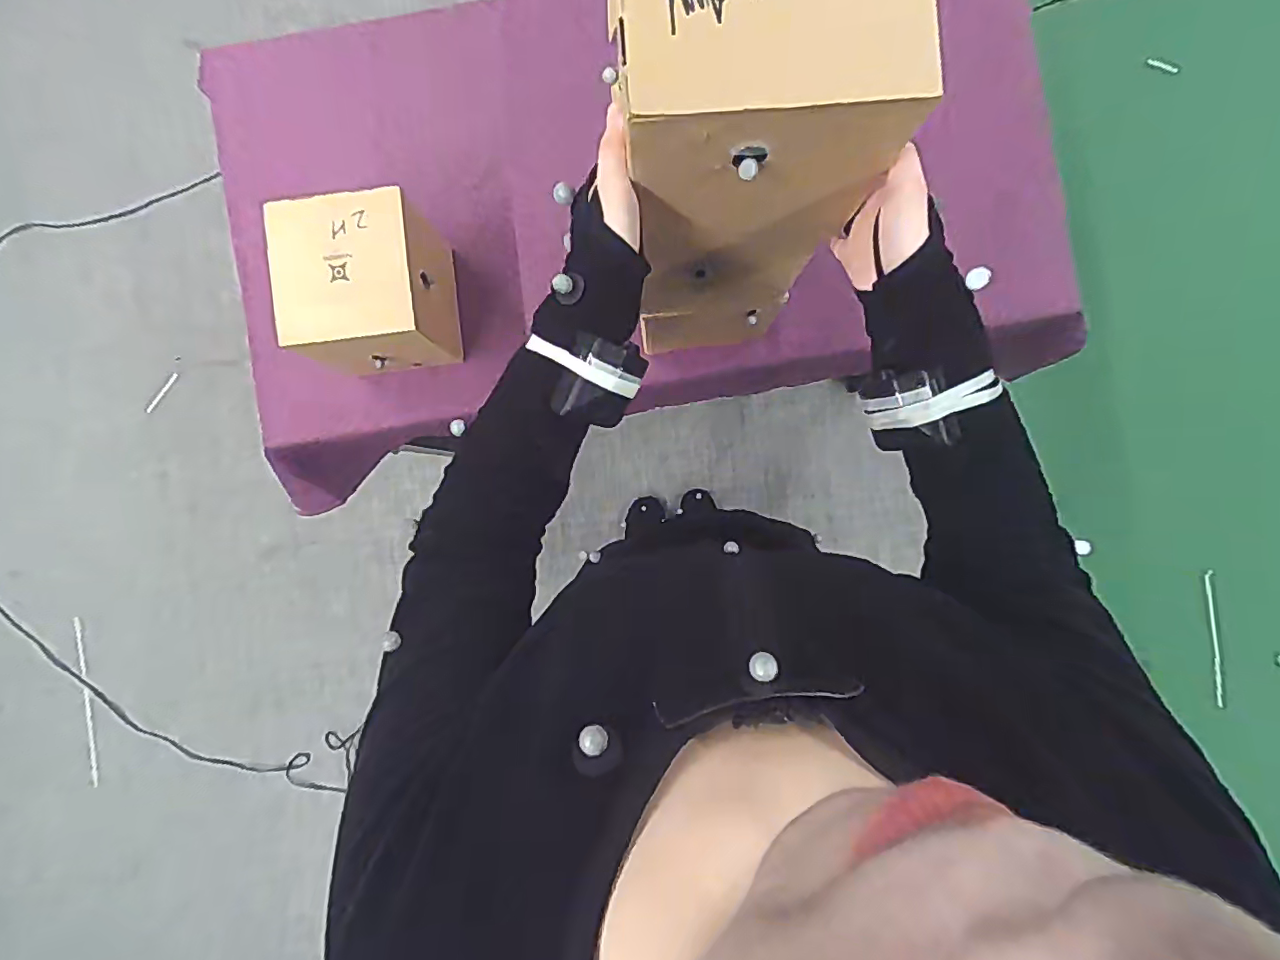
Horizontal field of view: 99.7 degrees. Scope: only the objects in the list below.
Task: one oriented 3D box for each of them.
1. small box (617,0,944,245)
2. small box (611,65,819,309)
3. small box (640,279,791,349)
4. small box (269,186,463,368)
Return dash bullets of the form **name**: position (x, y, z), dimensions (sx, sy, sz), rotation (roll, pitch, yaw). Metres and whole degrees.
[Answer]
- **small box**: position (0.075, -0.280, 0.375), dimensions (0.179, 0.176, 0.168), rotation (-4, 89, 0)
- **small box**: position (0.069, -0.279, 0.539), dimensions (0.179, 0.176, 0.168), rotation (-4, 89, 2)
- **small box**: position (0.081, -0.279, 0.704), dimensions (0.179, 0.176, 0.168), rotation (-8, 89, 1)
- **small box**: position (-0.346, -0.251, 0.714), dimensions (0.168, 0.176, 0.179), rotation (-6, 90, 1)
